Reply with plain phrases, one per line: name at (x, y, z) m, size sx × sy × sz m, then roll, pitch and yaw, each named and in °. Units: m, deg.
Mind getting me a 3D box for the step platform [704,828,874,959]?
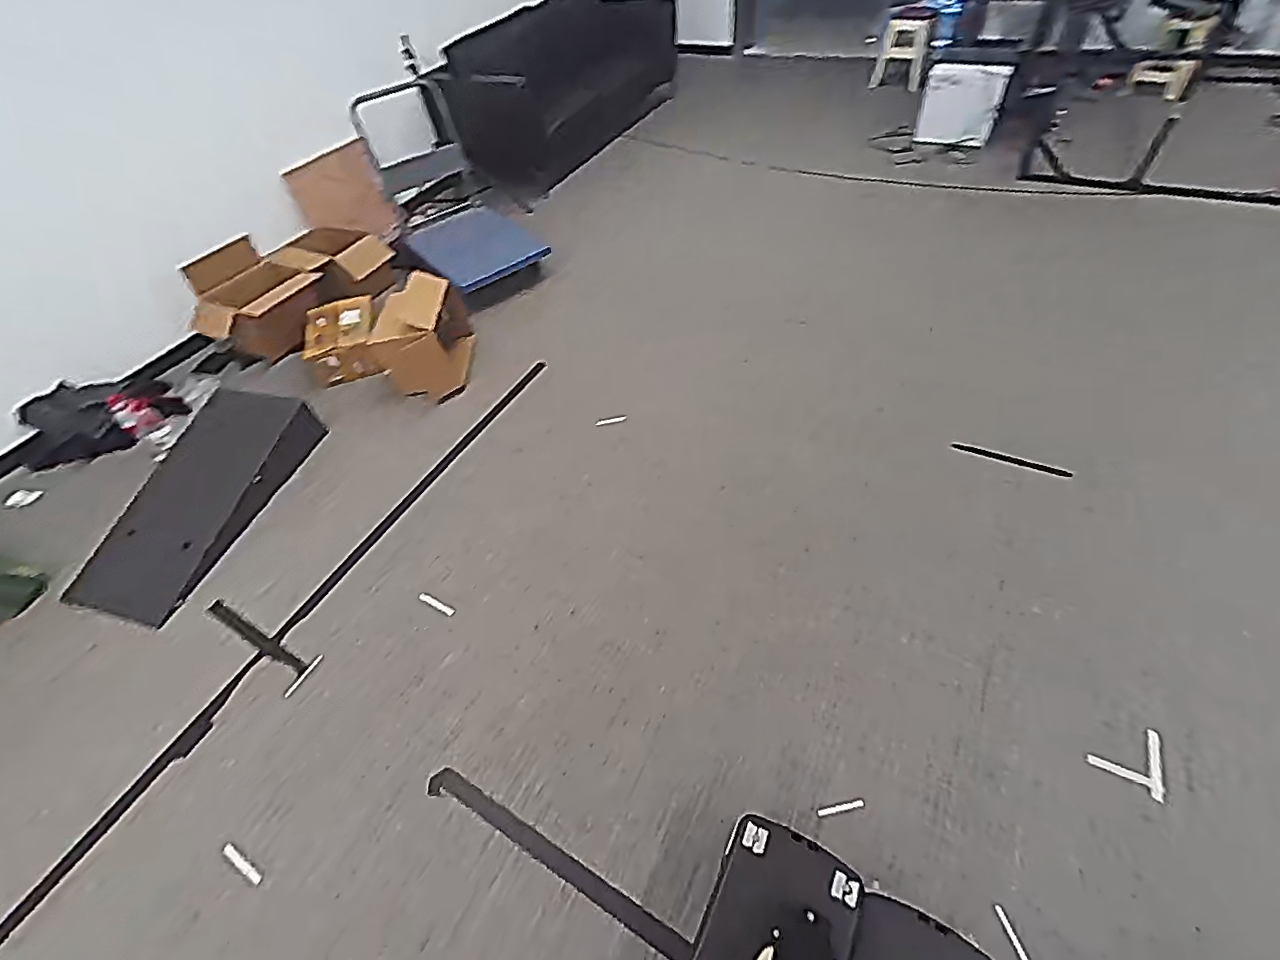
step platform at (0.233, 1.092, 1.061) m, size 0.286 × 0.204 × 0.684 m, roll 19°, pitch 54°, yaw 21°
